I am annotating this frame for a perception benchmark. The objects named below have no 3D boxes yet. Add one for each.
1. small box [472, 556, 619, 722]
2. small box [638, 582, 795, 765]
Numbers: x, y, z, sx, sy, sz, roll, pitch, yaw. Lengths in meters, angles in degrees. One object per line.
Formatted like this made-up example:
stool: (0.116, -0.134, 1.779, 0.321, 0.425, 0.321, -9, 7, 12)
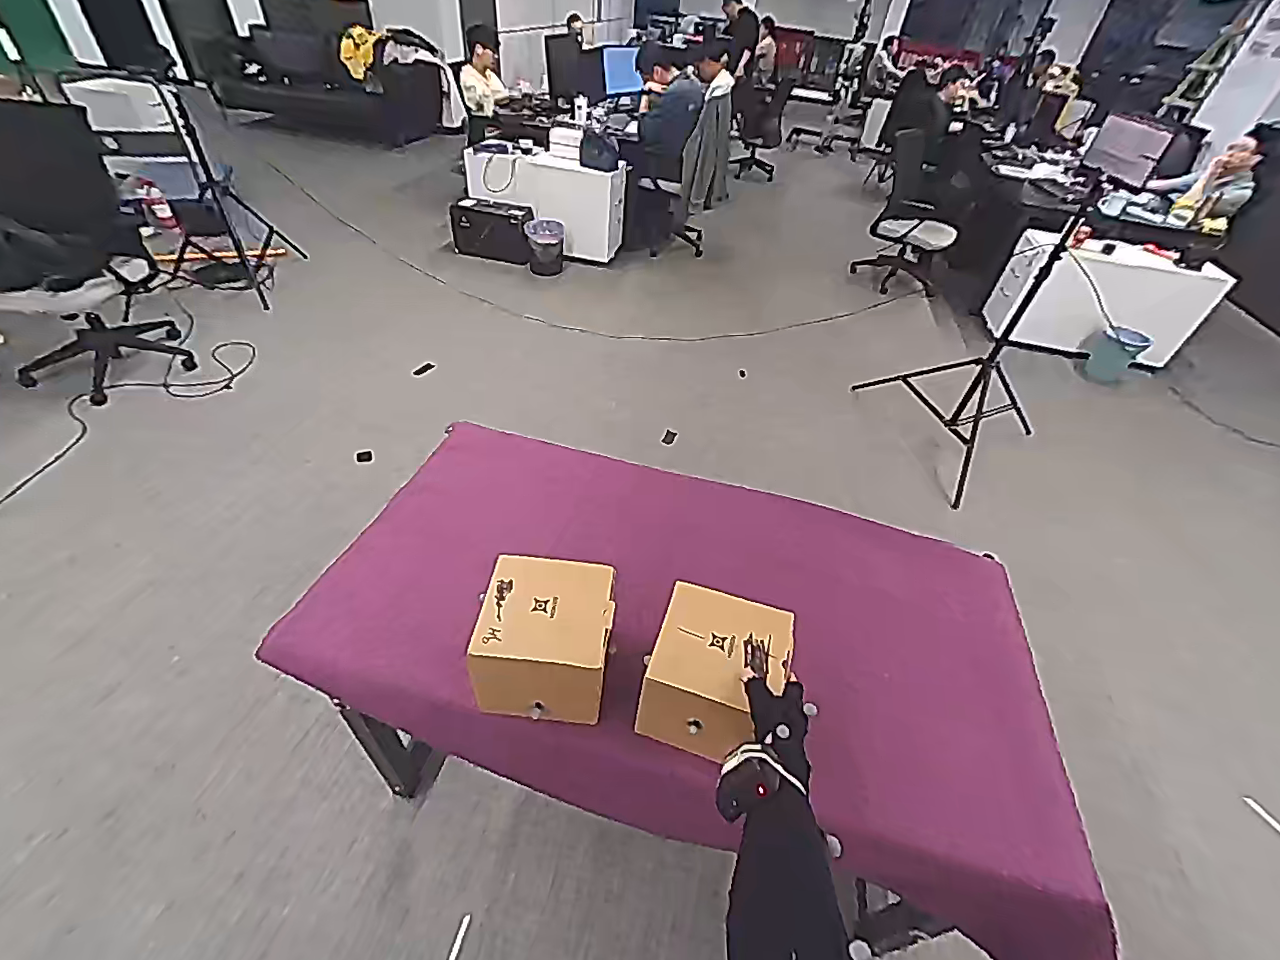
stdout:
small box: (-0.133, 0.238, 0.800, 0.179, 0.176, 0.168, 7, 41, -1)
small box: (0.107, 0.282, 0.781, 0.179, 0.176, 0.168, 15, 42, 11)
